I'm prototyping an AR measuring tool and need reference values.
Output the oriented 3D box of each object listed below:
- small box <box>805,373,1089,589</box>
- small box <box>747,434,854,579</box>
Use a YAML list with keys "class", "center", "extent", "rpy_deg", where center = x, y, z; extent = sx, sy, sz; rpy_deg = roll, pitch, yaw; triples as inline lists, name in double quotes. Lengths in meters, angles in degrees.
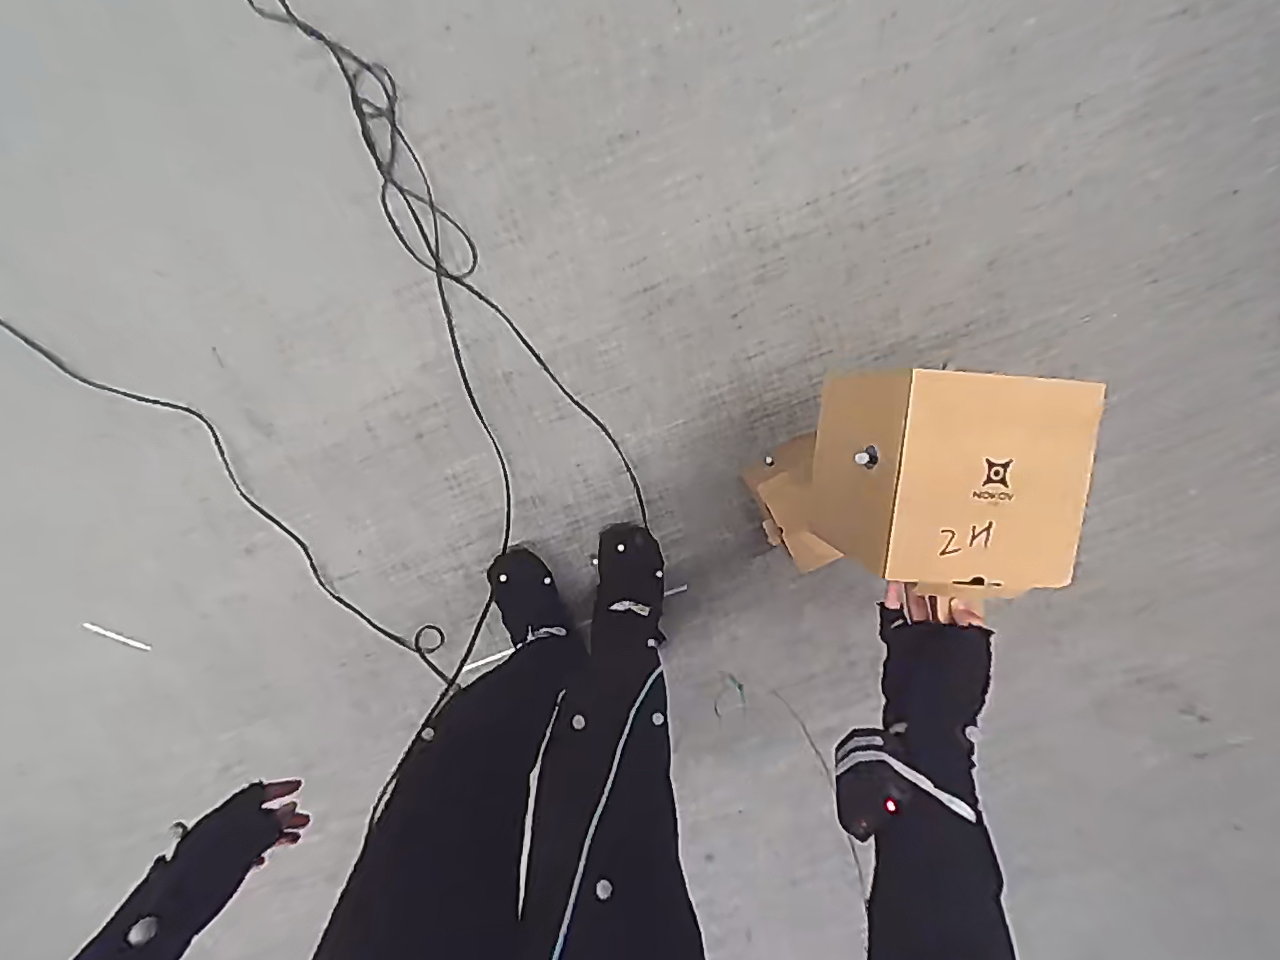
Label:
- class: "small box"
  center: [0.276, -0.007, 0.528]
  extent: [0.168, 0.176, 0.179]
  rpy_deg: [3, 99, -5]
- class: "small box"
  center: [0.288, 0.032, 0.887]
  extent: [0.179, 0.176, 0.168]
  rpy_deg: [-26, 100, 6]
